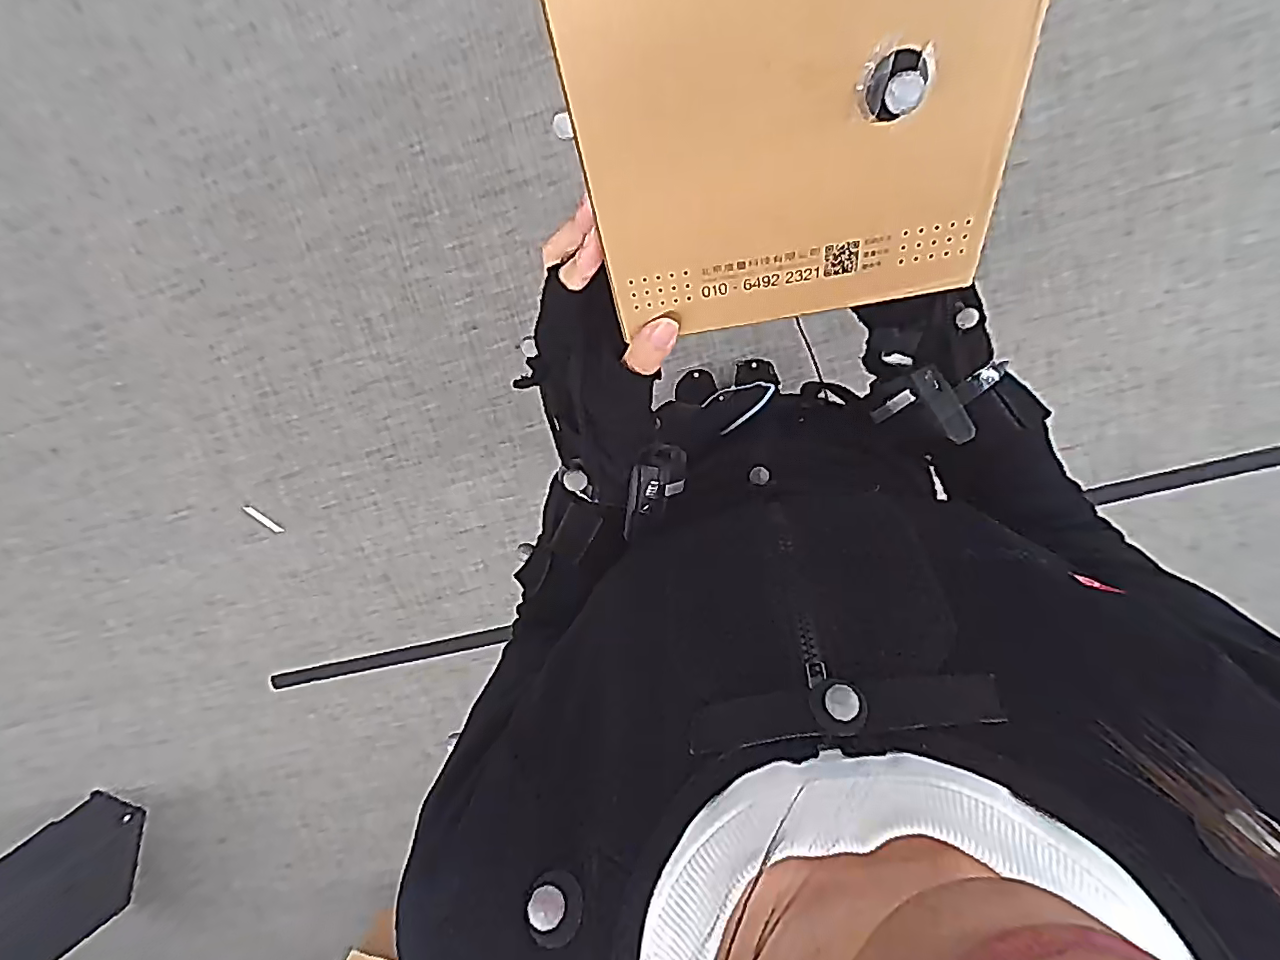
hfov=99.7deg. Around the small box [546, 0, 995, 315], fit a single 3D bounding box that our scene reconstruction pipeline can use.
[{"bbox_3d":[0.060,-0.201,0.282,0.168,0.179,0.176,-7,136,8],"label":"small box"}]
